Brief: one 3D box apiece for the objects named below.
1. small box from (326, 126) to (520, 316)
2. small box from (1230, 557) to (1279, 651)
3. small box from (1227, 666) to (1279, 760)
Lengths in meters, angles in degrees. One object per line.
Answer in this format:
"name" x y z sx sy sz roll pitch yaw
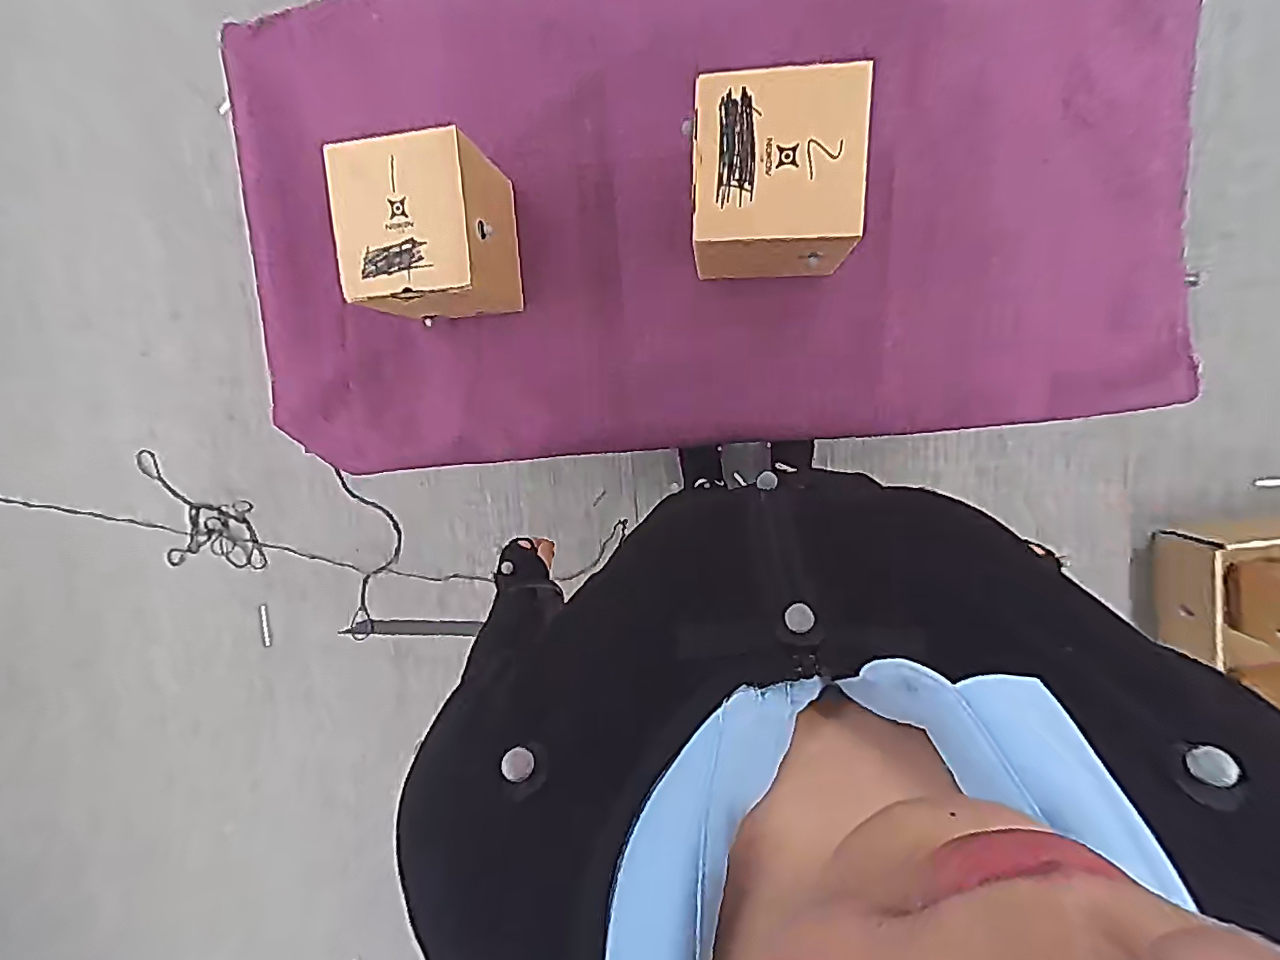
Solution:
"small box" -0.263 -0.314 0.697 0.168 0.176 0.179 -3 97 8
"small box" 1.482 0.281 1.205 0.168 0.176 0.179 -9 97 9
"small box" 1.519 0.536 1.237 0.179 0.176 0.168 -7 96 10
